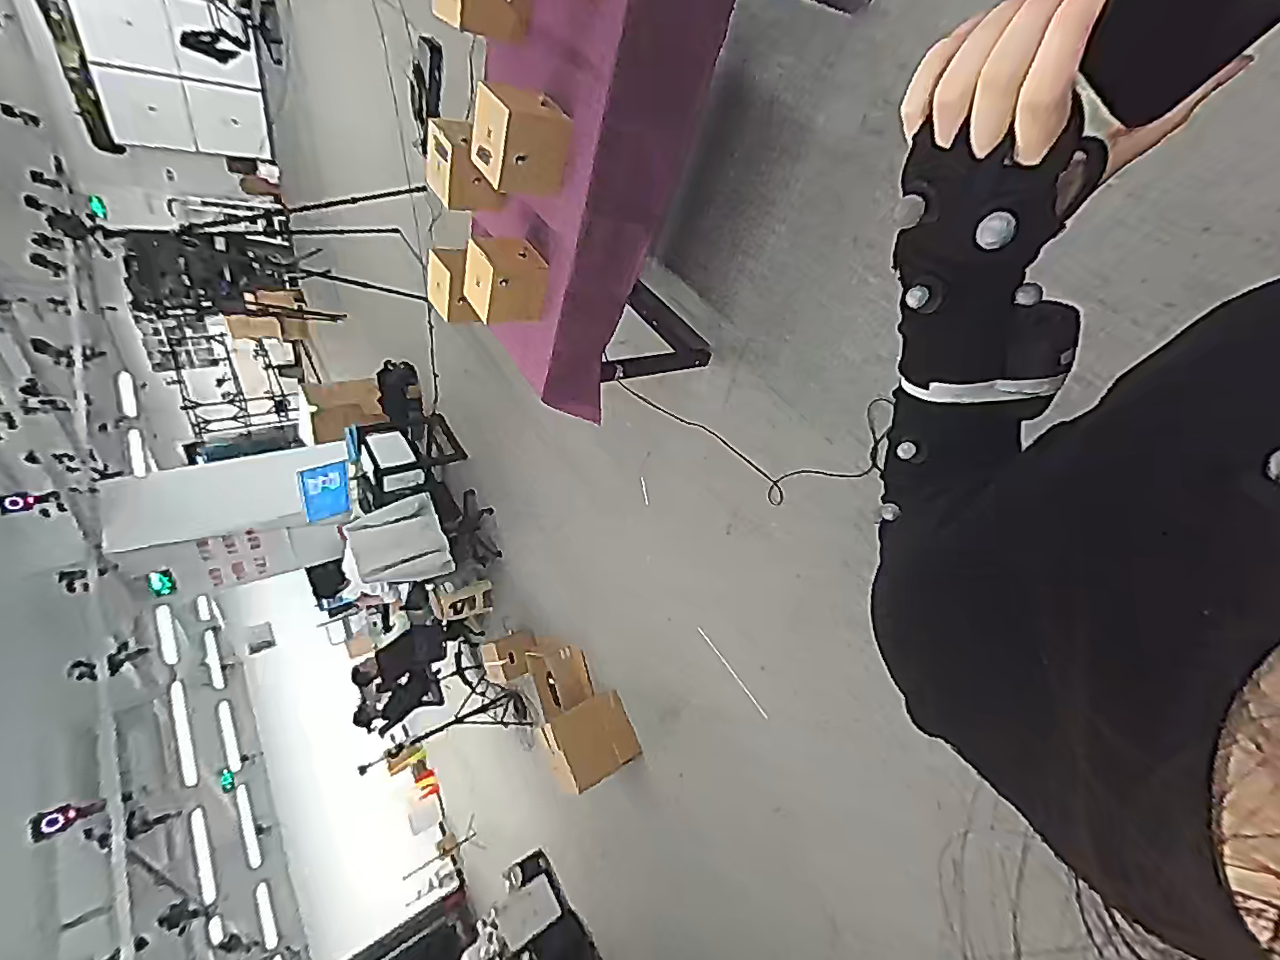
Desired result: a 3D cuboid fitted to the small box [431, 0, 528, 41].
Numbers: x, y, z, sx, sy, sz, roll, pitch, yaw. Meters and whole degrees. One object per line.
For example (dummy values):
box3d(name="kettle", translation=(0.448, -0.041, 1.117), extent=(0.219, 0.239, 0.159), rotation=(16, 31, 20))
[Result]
box3d(name="small box", translation=(-0.376, -1.171, 1.275), extent=(0.179, 0.176, 0.168), rotation=(50, 138, 29))

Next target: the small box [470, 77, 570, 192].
box3d(name="small box", translation=(-0.288, -0.817, 1.297), extent=(0.168, 0.176, 0.179), rotation=(54, 139, 25))

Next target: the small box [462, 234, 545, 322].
box3d(name="small box", translation=(-0.385, -0.567, 1.526), extent=(0.168, 0.176, 0.179), rotation=(53, 138, 27))
